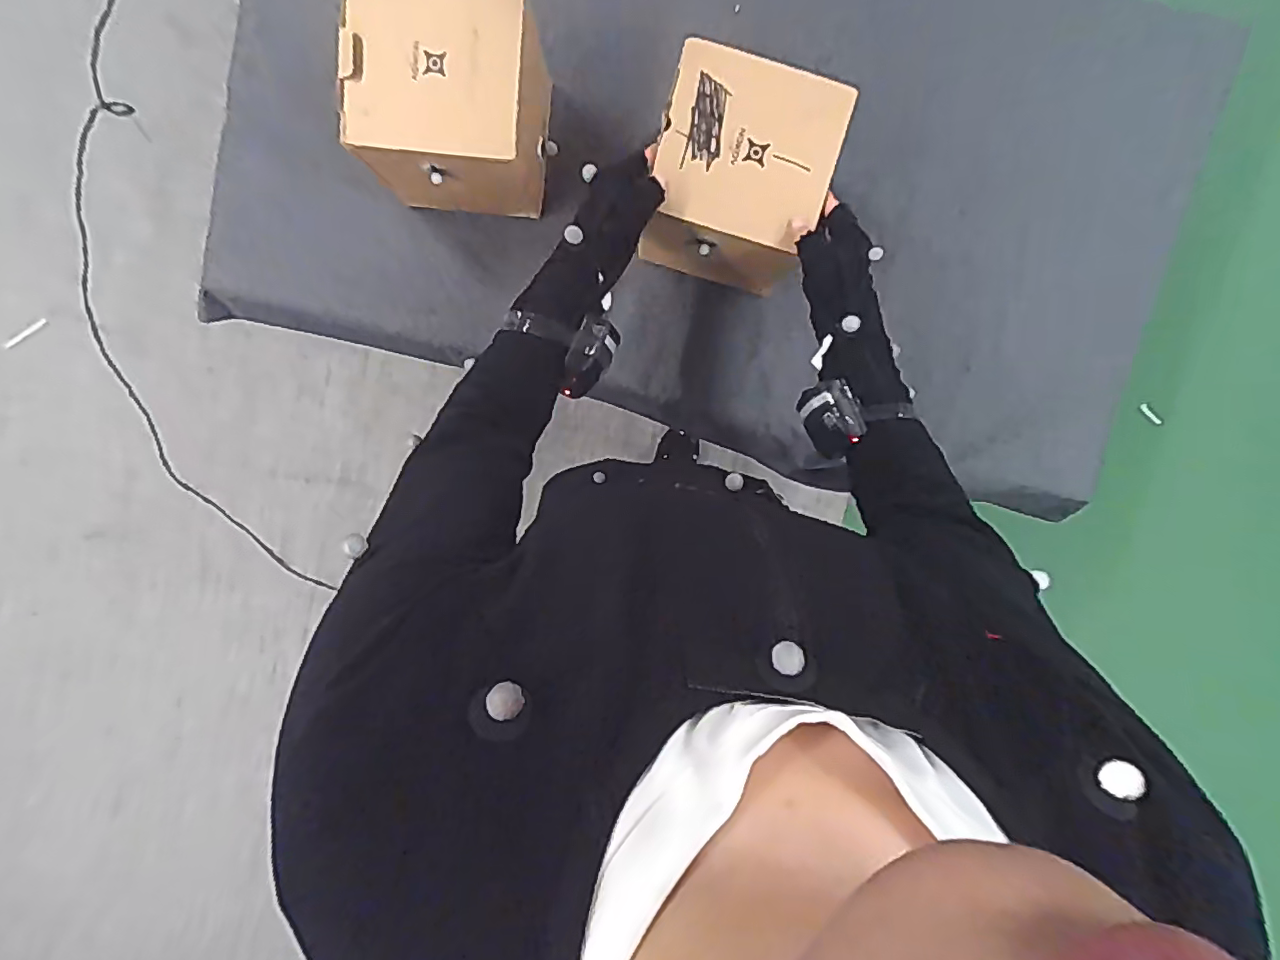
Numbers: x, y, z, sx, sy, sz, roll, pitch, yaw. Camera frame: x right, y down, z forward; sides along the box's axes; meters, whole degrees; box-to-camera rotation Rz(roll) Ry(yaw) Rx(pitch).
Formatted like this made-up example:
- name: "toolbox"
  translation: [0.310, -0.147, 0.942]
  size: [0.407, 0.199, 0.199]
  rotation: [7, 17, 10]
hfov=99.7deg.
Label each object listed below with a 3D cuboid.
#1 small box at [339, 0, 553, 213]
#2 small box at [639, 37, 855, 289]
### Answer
- name: "small box"
  translation: [-0.203, -0.417, 0.604]
  size: [0.179, 0.176, 0.168]
  rotation: [6, 98, -1]
- name: "small box"
  translation: [0.103, -0.333, 0.608]
  size: [0.179, 0.176, 0.168]
  rotation: [16, 96, -3]
